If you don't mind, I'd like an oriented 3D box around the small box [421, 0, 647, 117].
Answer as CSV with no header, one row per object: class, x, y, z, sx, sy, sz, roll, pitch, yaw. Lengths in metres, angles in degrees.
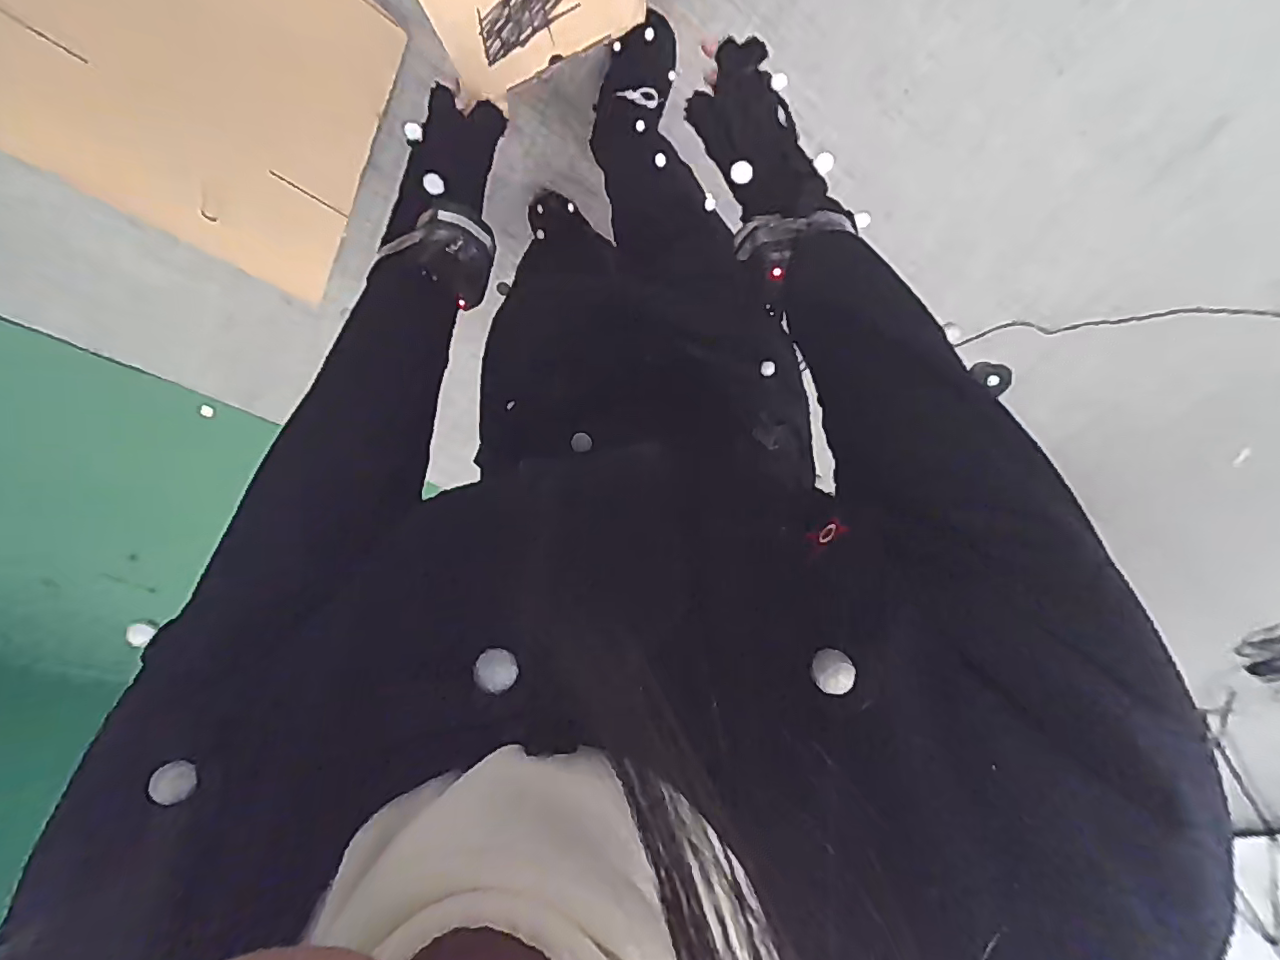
small box,-0.099,-0.471,0.467,0.168,0.176,0.179,-17,138,21
